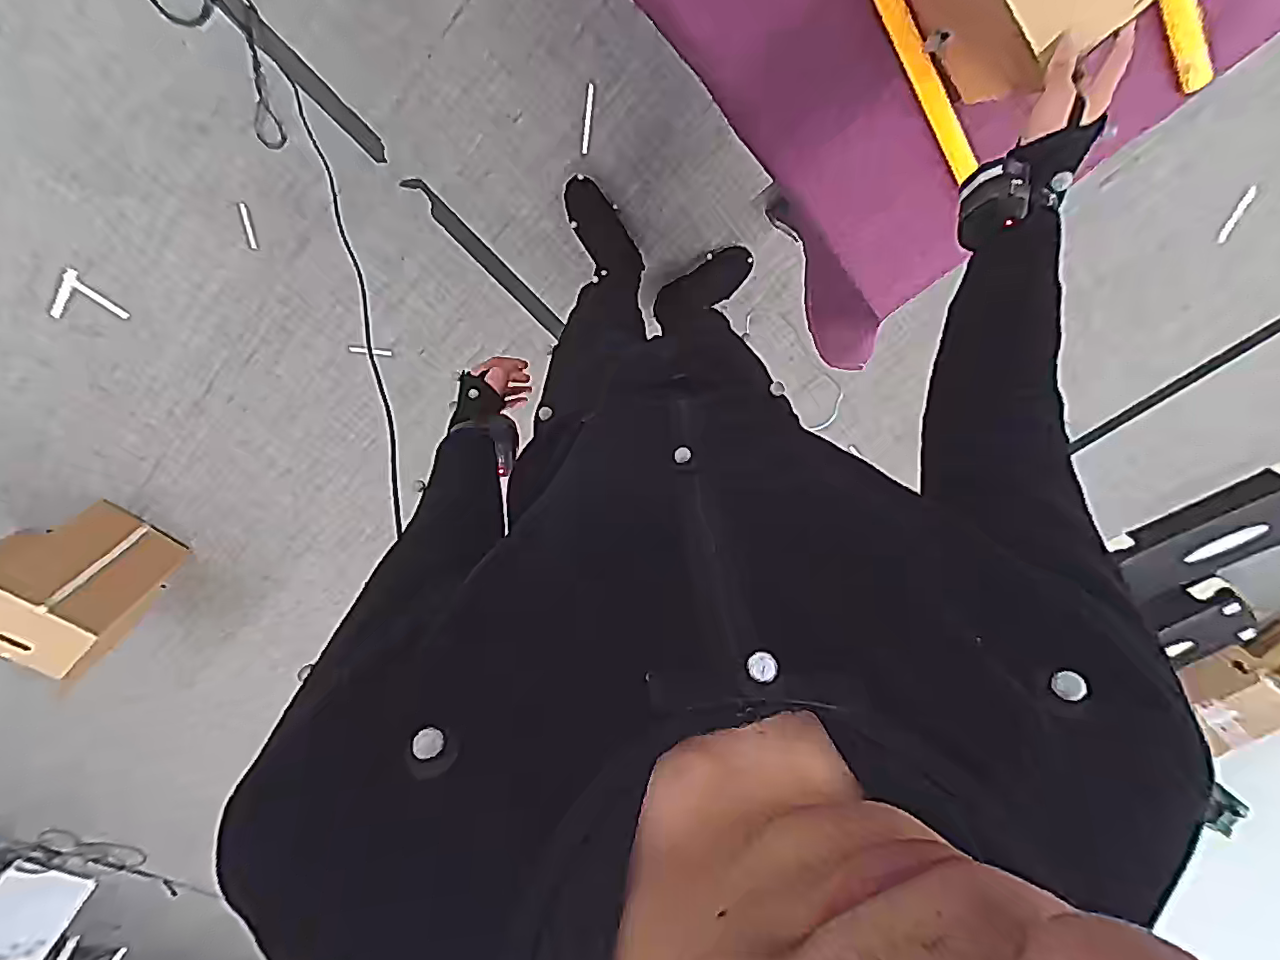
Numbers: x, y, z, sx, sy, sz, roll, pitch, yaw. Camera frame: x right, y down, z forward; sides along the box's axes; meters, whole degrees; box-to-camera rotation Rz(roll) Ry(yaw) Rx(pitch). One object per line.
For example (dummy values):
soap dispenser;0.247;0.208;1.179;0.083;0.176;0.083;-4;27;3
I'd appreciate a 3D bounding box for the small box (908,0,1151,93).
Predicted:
small box;0.378;-0.506;0.509;0.179;0.176;0.168;40;114;-21
